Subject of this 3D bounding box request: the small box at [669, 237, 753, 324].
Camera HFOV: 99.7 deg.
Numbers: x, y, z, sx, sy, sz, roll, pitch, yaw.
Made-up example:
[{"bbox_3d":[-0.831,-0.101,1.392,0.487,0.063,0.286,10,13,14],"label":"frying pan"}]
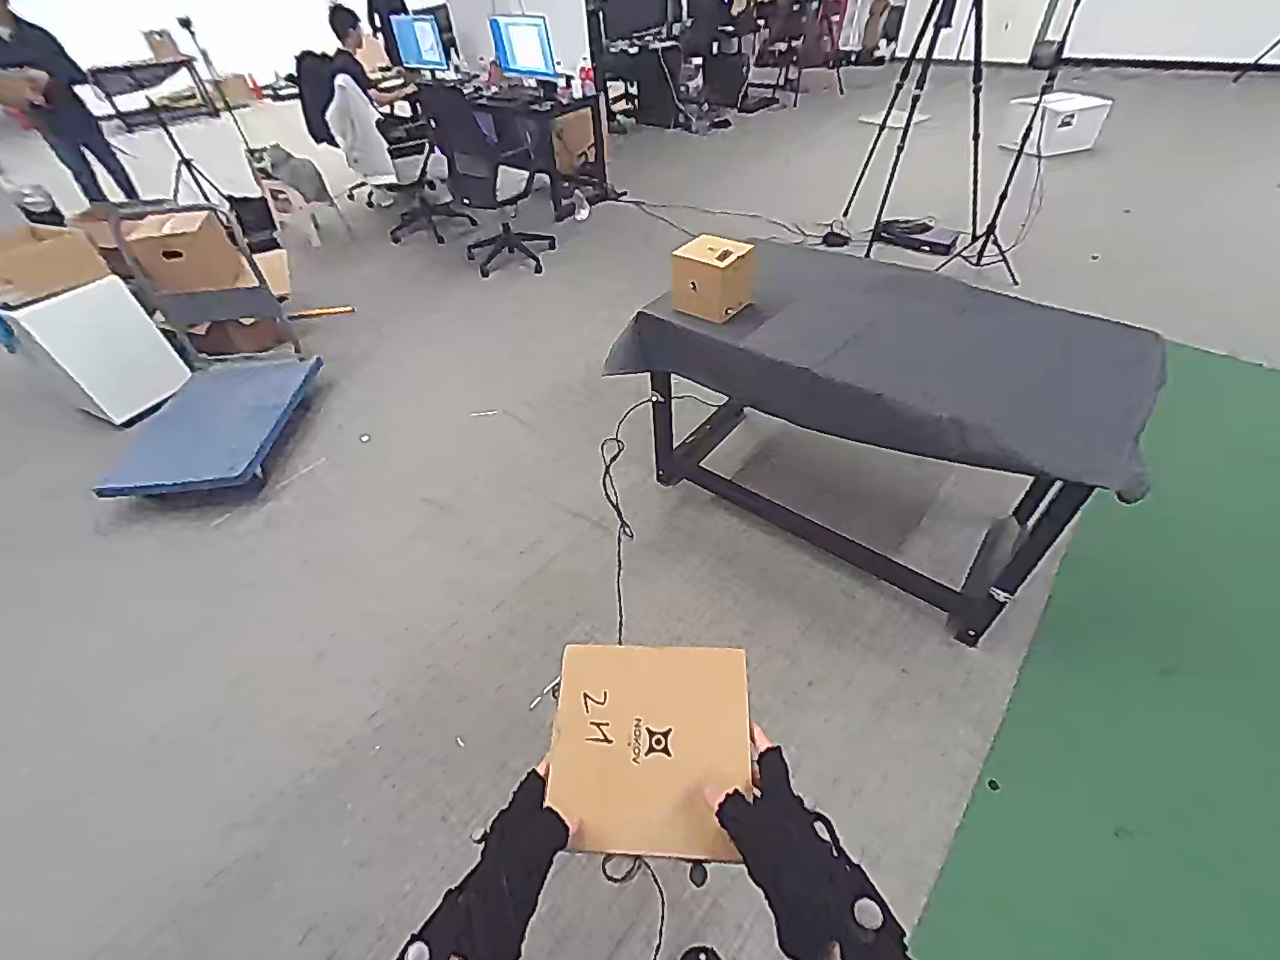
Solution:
[{"bbox_3d":[0.203,-0.569,1.554,0.179,0.176,0.168,28,53,29],"label":"small box"}]
